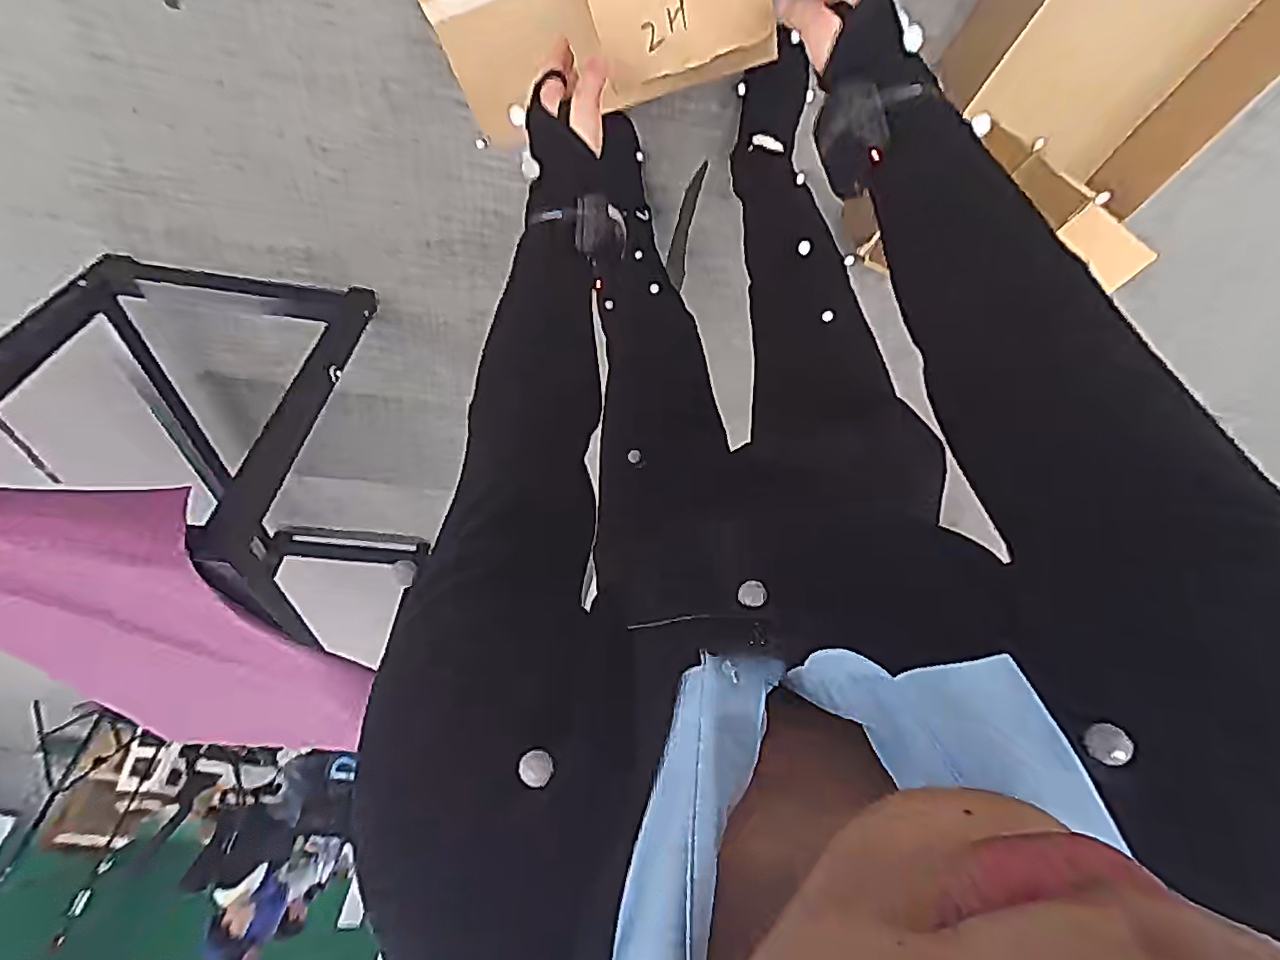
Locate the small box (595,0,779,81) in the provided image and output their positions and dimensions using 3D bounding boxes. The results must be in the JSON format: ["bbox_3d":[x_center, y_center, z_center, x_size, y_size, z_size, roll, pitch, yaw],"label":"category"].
[{"bbox_3d":[0.032,-0.531,0.516,0.168,0.176,0.179,-9,141,14],"label":"small box"}]

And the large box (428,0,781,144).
[{"bbox_3d":[-0.054,-0.709,0.688,0.408,0.320,0.320,-9,139,13],"label":"large box"}]
